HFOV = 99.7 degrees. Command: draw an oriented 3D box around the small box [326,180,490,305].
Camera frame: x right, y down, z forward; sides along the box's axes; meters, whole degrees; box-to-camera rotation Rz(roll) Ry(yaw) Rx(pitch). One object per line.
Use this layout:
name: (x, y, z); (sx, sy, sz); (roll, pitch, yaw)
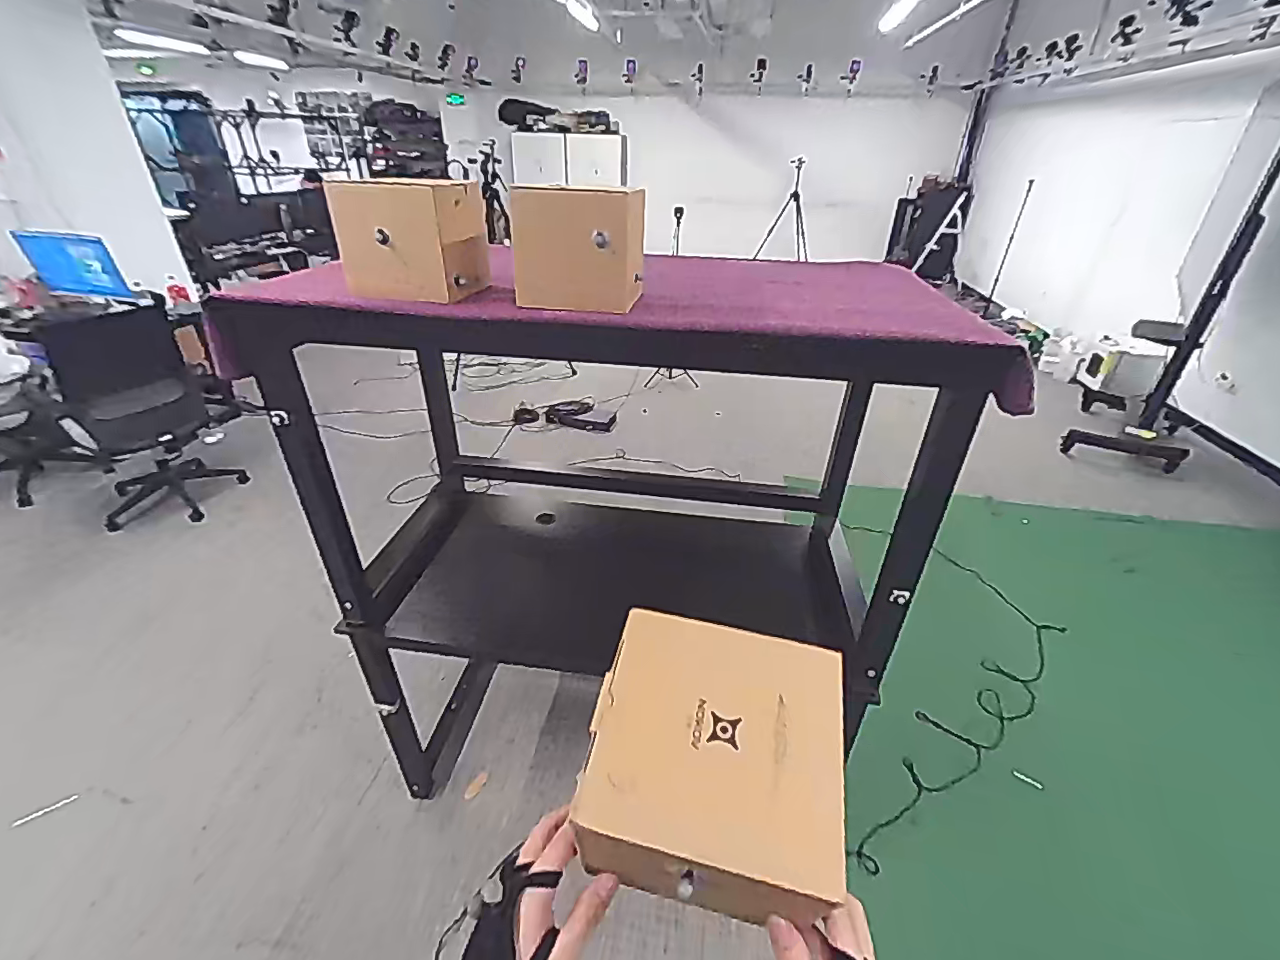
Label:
small box: (-0.363, -0.390, 0.886); (0.179, 0.176, 0.168); (6, 31, 8)

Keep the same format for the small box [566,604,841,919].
small box: (0.055, 0.231, 0.445); (0.179, 0.176, 0.168); (10, 47, 10)
